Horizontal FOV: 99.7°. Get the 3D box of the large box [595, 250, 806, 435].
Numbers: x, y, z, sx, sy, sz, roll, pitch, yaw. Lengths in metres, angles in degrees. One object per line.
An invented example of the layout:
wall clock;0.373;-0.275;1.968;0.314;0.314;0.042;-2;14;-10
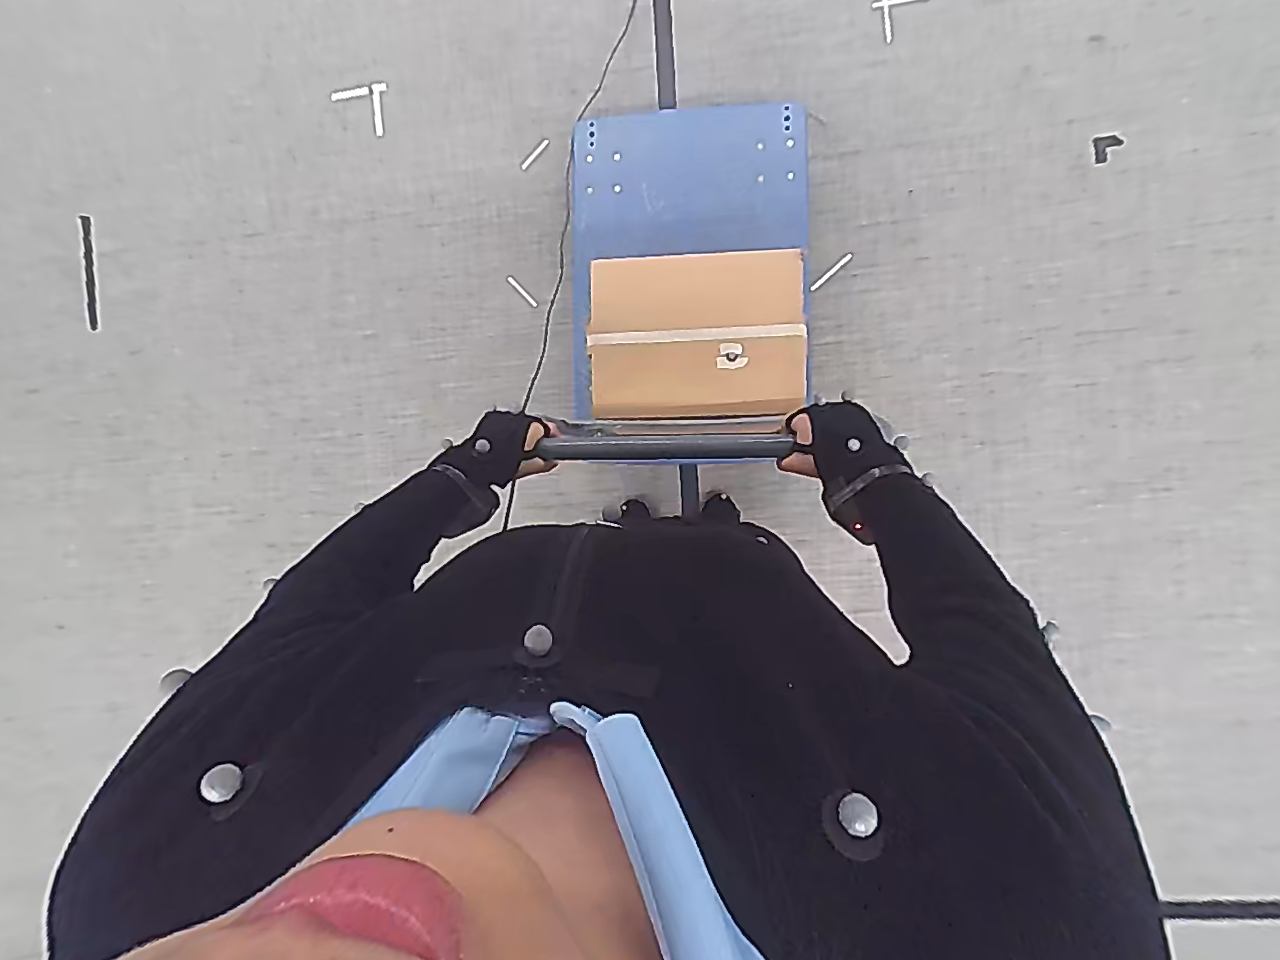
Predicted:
large box;0.124;-0.275;1.190;0.408;0.320;0.320;-1;89;5
